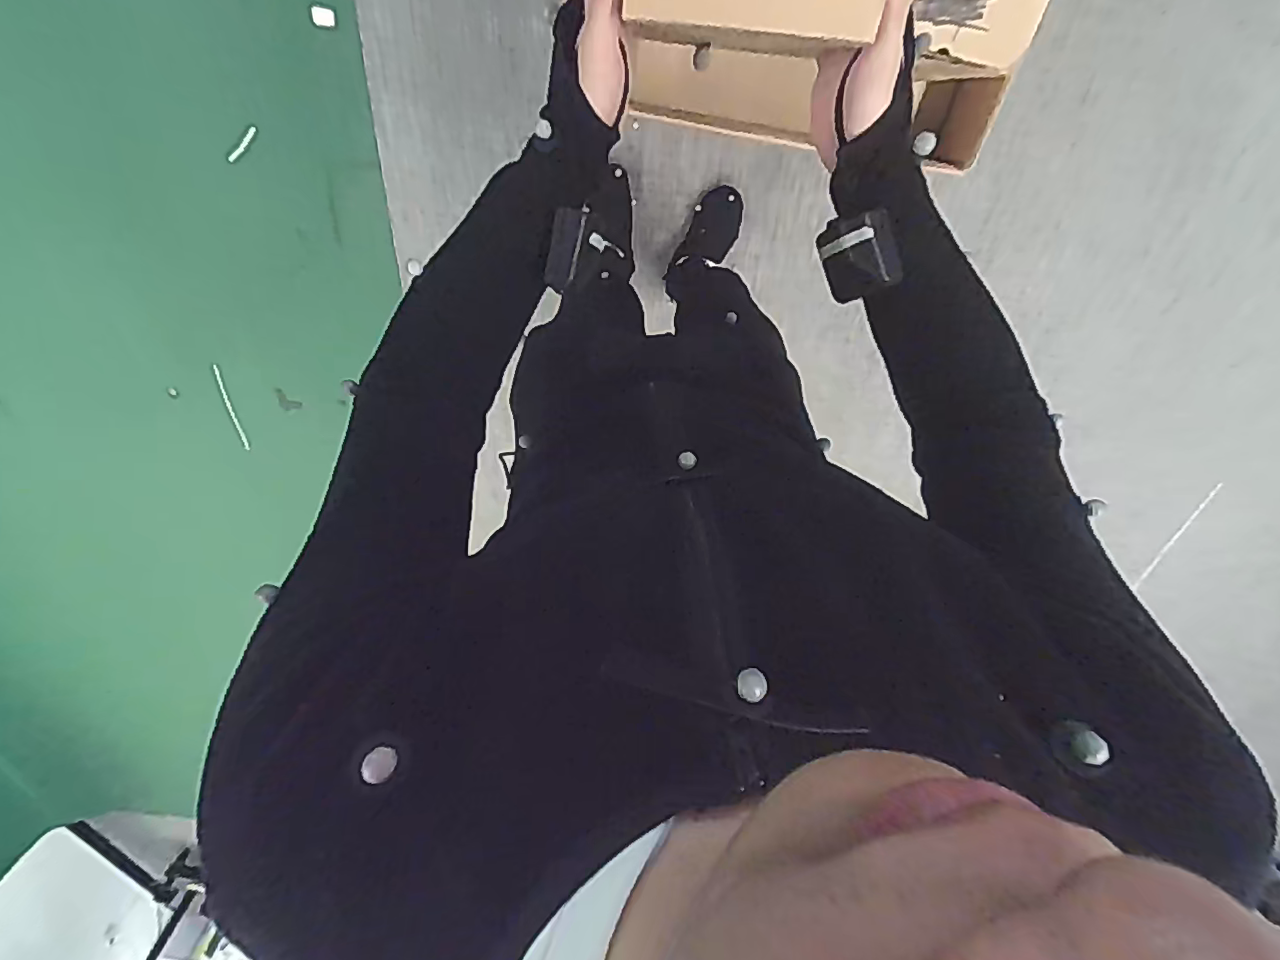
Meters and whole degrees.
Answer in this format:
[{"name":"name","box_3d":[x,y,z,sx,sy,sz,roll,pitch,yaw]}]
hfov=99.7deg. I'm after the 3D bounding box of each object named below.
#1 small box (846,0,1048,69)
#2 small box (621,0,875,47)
[{"name":"small box","box_3d":[0.337,-0.562,0.576,0.168,0.176,0.179,11,125,-3]},{"name":"small box","box_3d":[0.070,-0.406,0.350,0.168,0.176,0.179,4,126,-2]}]
